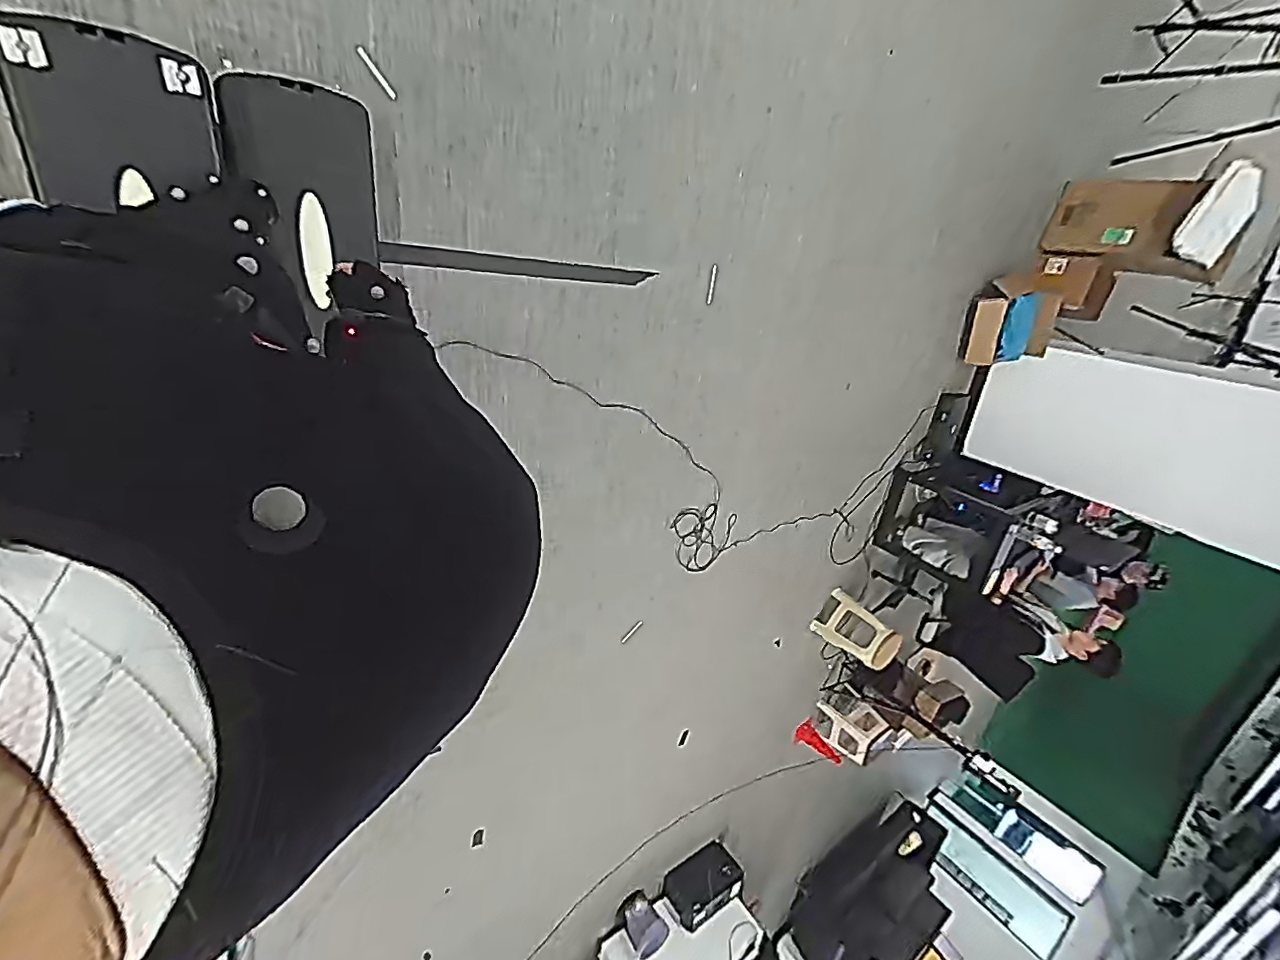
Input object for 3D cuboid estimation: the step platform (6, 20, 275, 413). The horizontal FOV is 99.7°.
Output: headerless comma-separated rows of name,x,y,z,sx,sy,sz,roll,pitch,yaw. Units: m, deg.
step platform,-0.962,-0.480,1.097,0.286,0.204,0.684,-12,119,-35
